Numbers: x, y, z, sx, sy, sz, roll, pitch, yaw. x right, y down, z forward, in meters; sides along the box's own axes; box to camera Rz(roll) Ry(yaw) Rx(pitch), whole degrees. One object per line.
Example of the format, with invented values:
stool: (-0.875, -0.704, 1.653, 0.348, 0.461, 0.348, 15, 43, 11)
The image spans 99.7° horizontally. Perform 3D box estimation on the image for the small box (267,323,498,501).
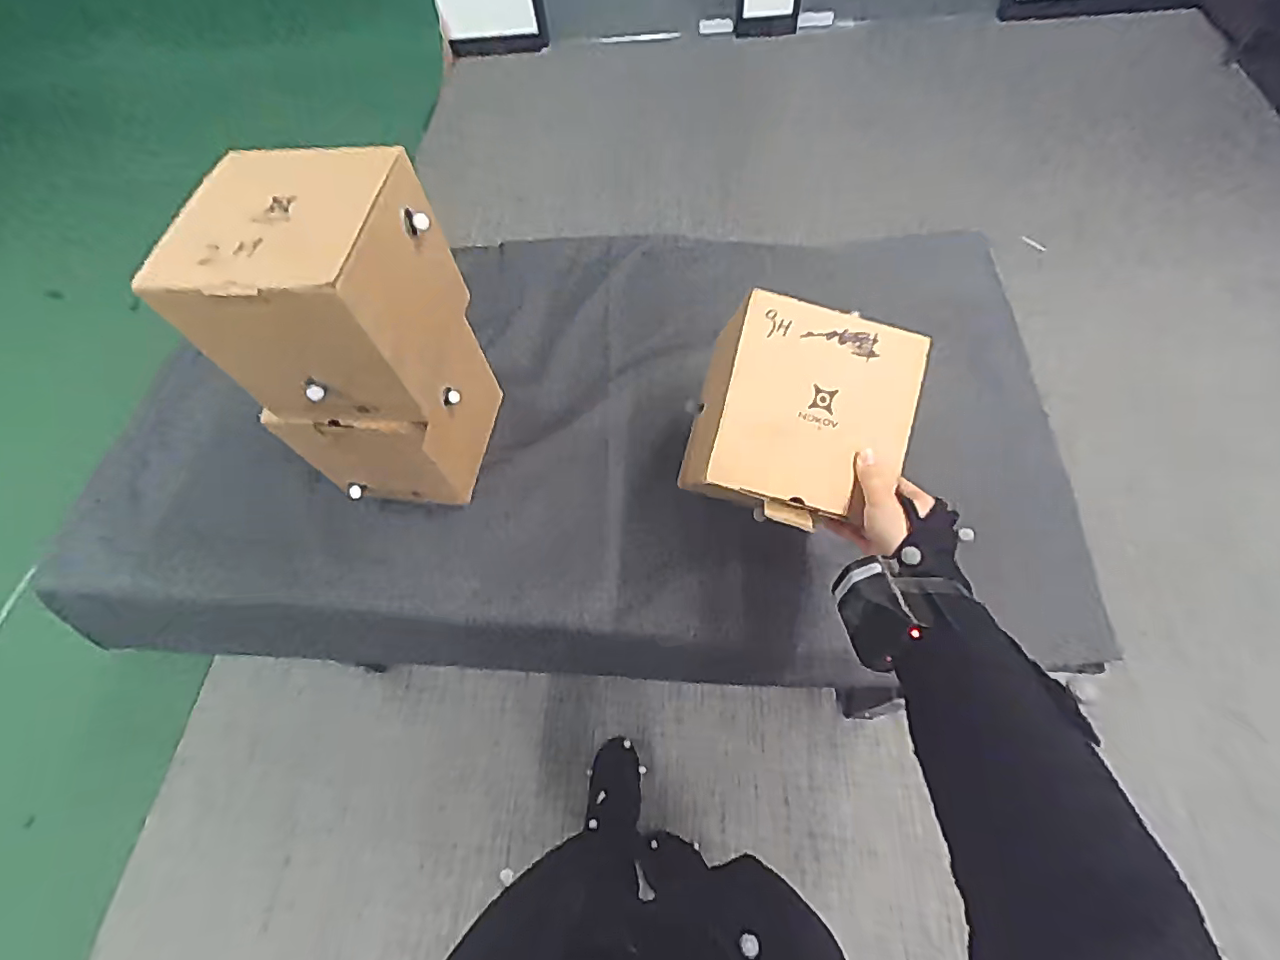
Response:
small box: (-0.288, -0.089, 0.654, 0.168, 0.176, 0.179, 5, 61, 7)

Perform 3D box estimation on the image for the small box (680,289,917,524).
small box: (0.144, -0.060, 0.552, 0.168, 0.176, 0.179, 15, 86, -2)

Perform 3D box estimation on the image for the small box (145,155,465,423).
small box: (-0.285, -0.175, 0.513, 0.168, 0.176, 0.179, 2, 61, 7)
